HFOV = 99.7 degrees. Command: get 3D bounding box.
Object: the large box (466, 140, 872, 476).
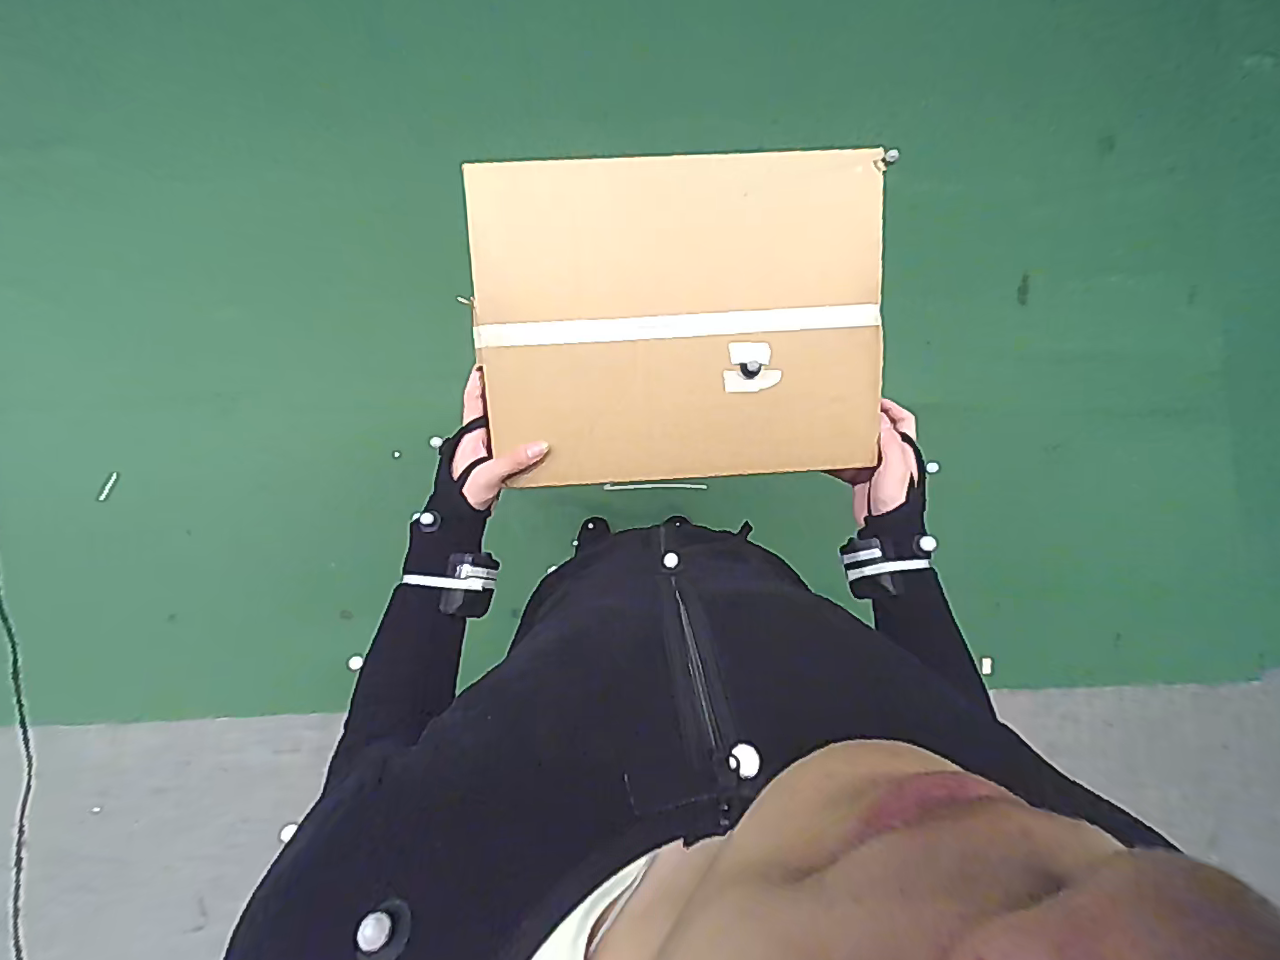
[{"bbox_3d":[0.030,-0.194,0.694,0.408,0.320,0.320,-4,101,-3],"label":"large box"}]
